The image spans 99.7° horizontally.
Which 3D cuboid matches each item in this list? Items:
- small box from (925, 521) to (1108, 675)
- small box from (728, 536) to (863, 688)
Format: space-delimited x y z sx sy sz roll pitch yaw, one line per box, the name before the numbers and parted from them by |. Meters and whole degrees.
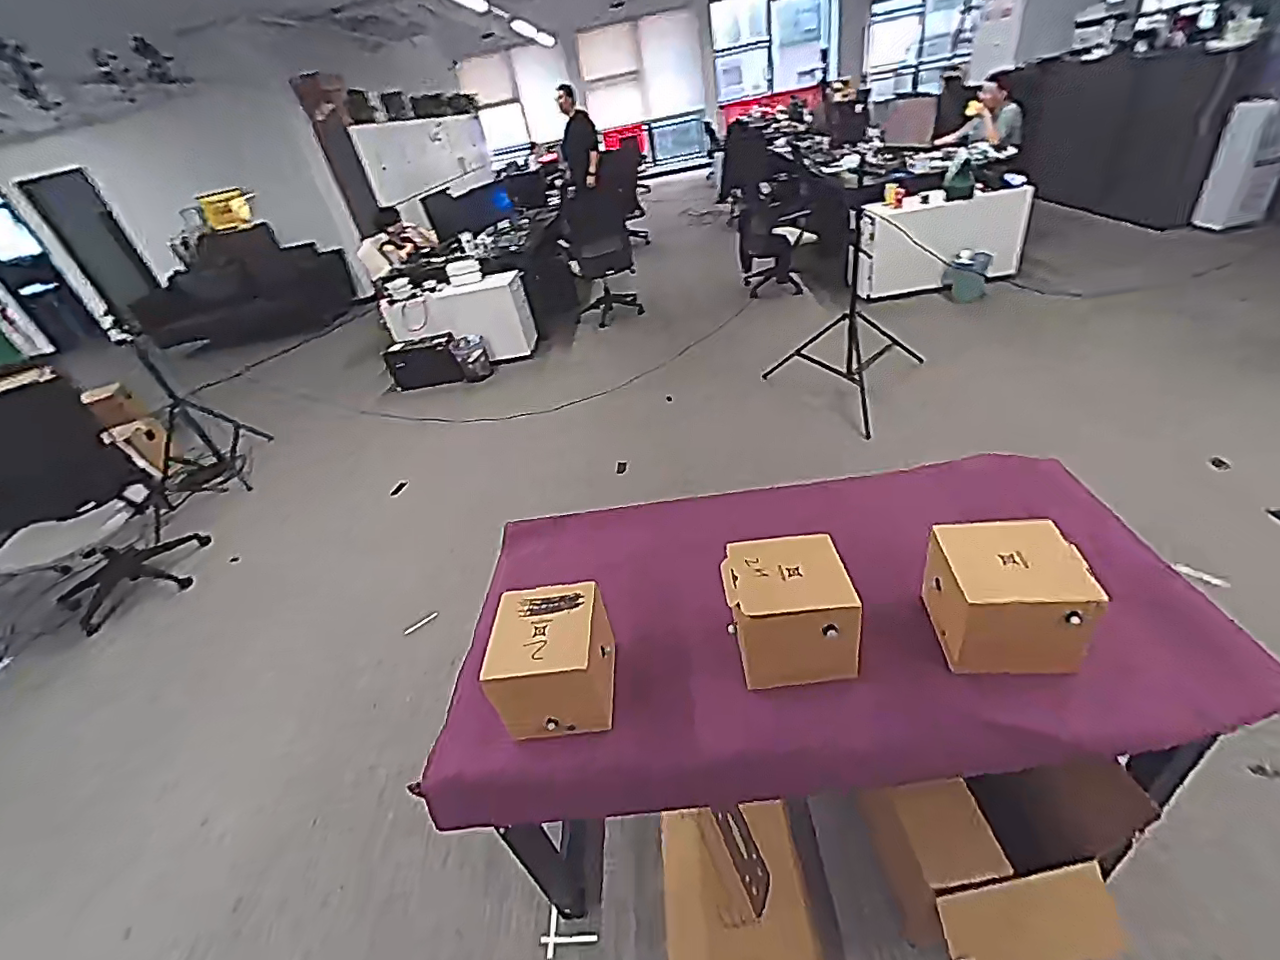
small box | 0.558 0.183 0.835 0.179 0.176 0.168 -4 35 11
small box | 0.245 0.216 0.884 0.179 0.176 0.168 -9 32 5
